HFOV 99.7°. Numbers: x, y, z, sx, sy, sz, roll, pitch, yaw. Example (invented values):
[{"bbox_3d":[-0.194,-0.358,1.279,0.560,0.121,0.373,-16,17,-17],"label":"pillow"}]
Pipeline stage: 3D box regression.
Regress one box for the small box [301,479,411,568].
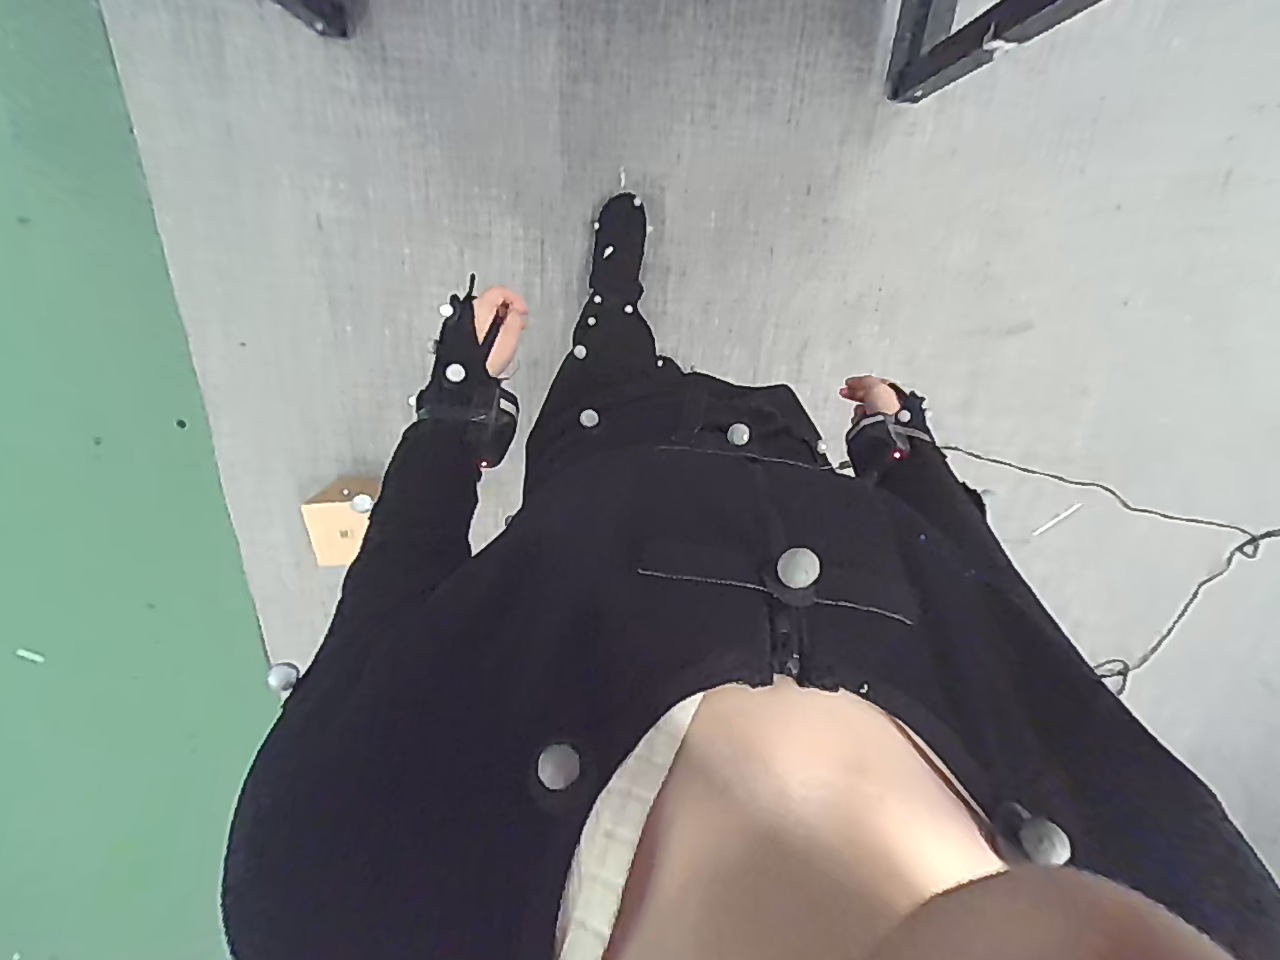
[{"bbox_3d":[-0.690,0.101,1.342,0.179,0.176,0.168,-3,111,2],"label":"small box"}]
